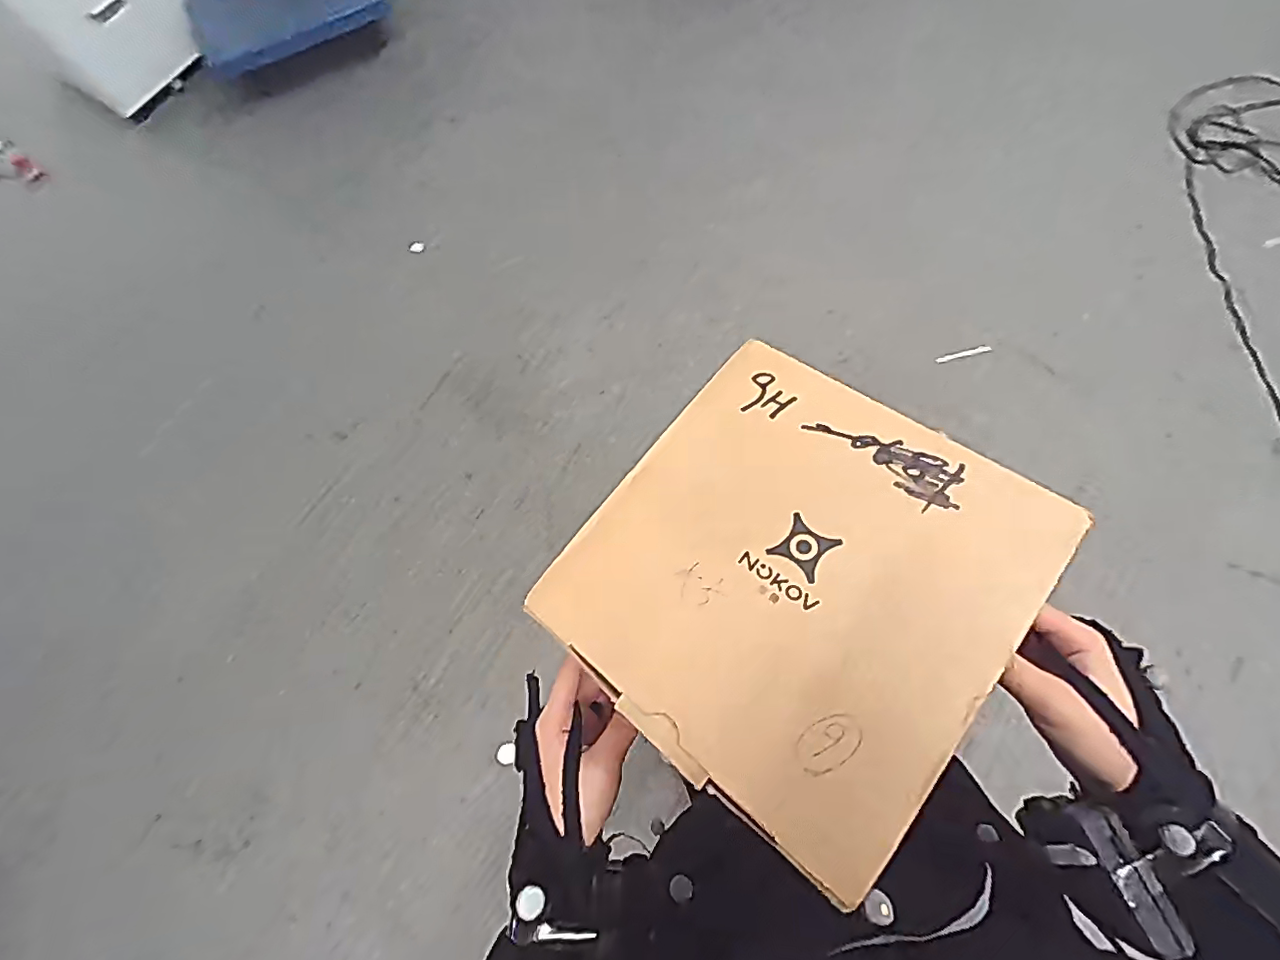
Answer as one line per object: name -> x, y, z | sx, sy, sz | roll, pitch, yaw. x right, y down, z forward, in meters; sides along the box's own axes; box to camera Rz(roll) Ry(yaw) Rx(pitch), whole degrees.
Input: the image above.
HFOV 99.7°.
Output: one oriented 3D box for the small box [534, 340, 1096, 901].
small box -> 0.081, 0.067, 0.298 | 0.168, 0.176, 0.179 | 36, 79, 24
